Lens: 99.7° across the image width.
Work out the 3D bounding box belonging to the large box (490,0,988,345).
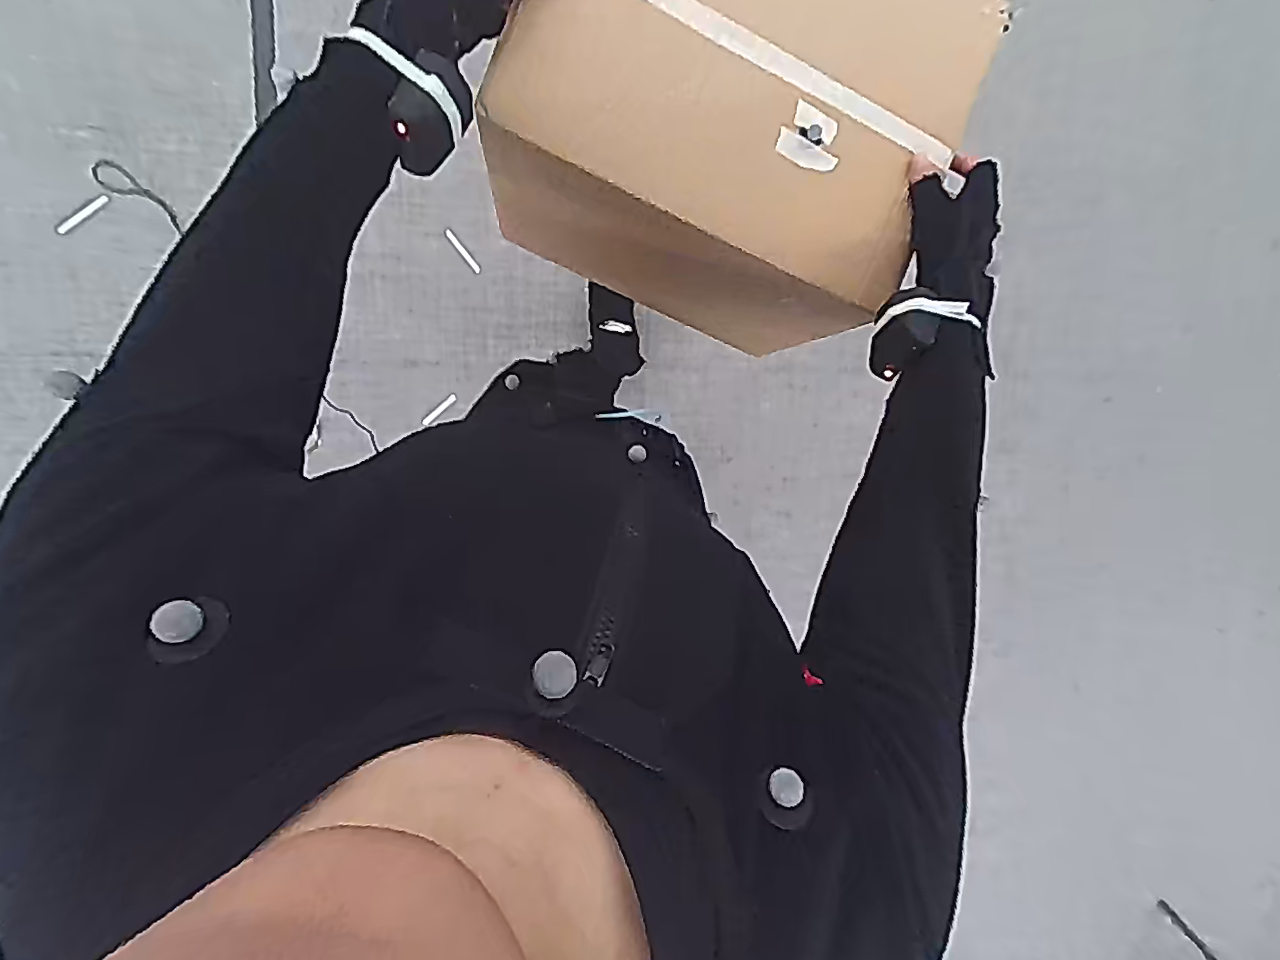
[{"bbox_3d":[0.077,-0.393,0.633,0.408,0.320,0.320,21,93,-12],"label":"large box"}]
